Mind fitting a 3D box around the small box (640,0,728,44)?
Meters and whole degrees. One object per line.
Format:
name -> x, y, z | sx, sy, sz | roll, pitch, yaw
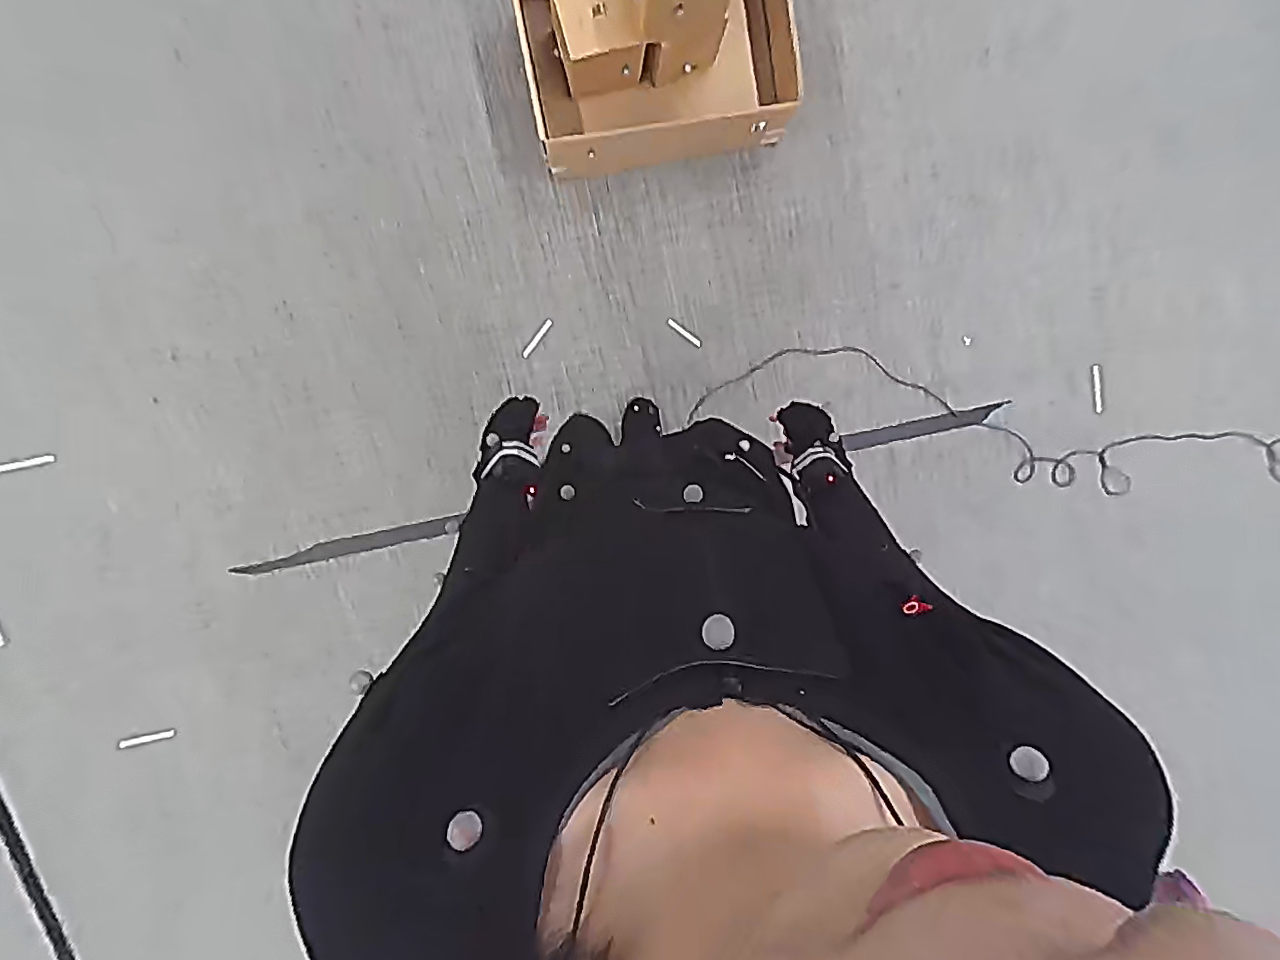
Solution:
small box -> 0.087, -1.028, 1.096 | 0.179, 0.176, 0.168 | -7, 100, -2
